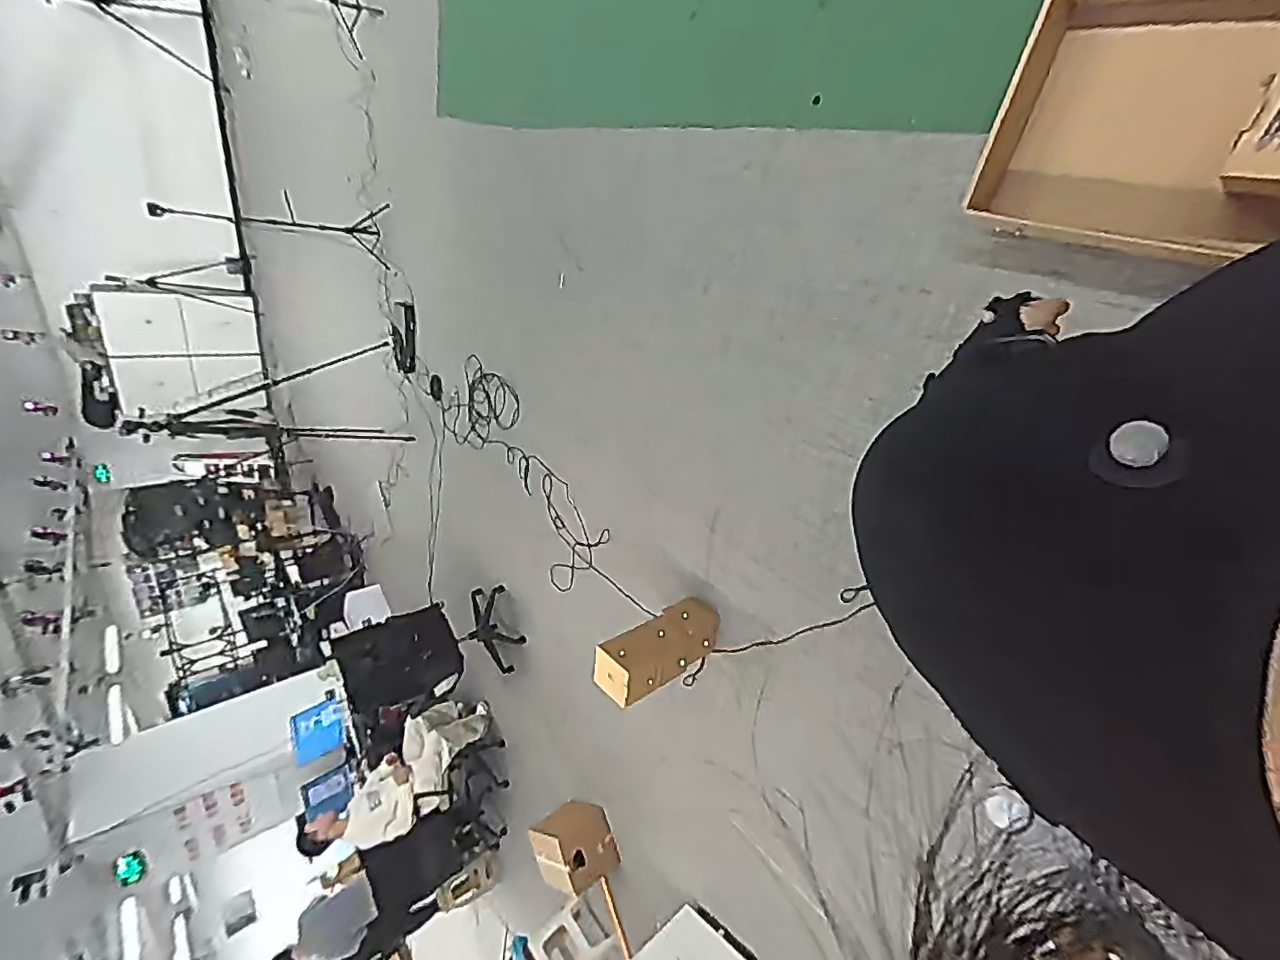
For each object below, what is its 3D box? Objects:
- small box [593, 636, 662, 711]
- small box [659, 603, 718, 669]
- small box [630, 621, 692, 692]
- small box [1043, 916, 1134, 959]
[{"bbox_3d":[-0.047,0.687,1.952,0.179,0.176,0.168,26,119,41],"label":"small box"},{"bbox_3d":[0.191,0.615,2.163,0.179,0.176,0.168,24,117,44],"label":"small box"},{"bbox_3d":[0.070,0.662,2.062,0.179,0.176,0.168,28,121,41],"label":"small box"},{"bbox_3d":[1.089,1.216,1.301,0.168,0.176,0.179,34,124,39],"label":"small box"}]
